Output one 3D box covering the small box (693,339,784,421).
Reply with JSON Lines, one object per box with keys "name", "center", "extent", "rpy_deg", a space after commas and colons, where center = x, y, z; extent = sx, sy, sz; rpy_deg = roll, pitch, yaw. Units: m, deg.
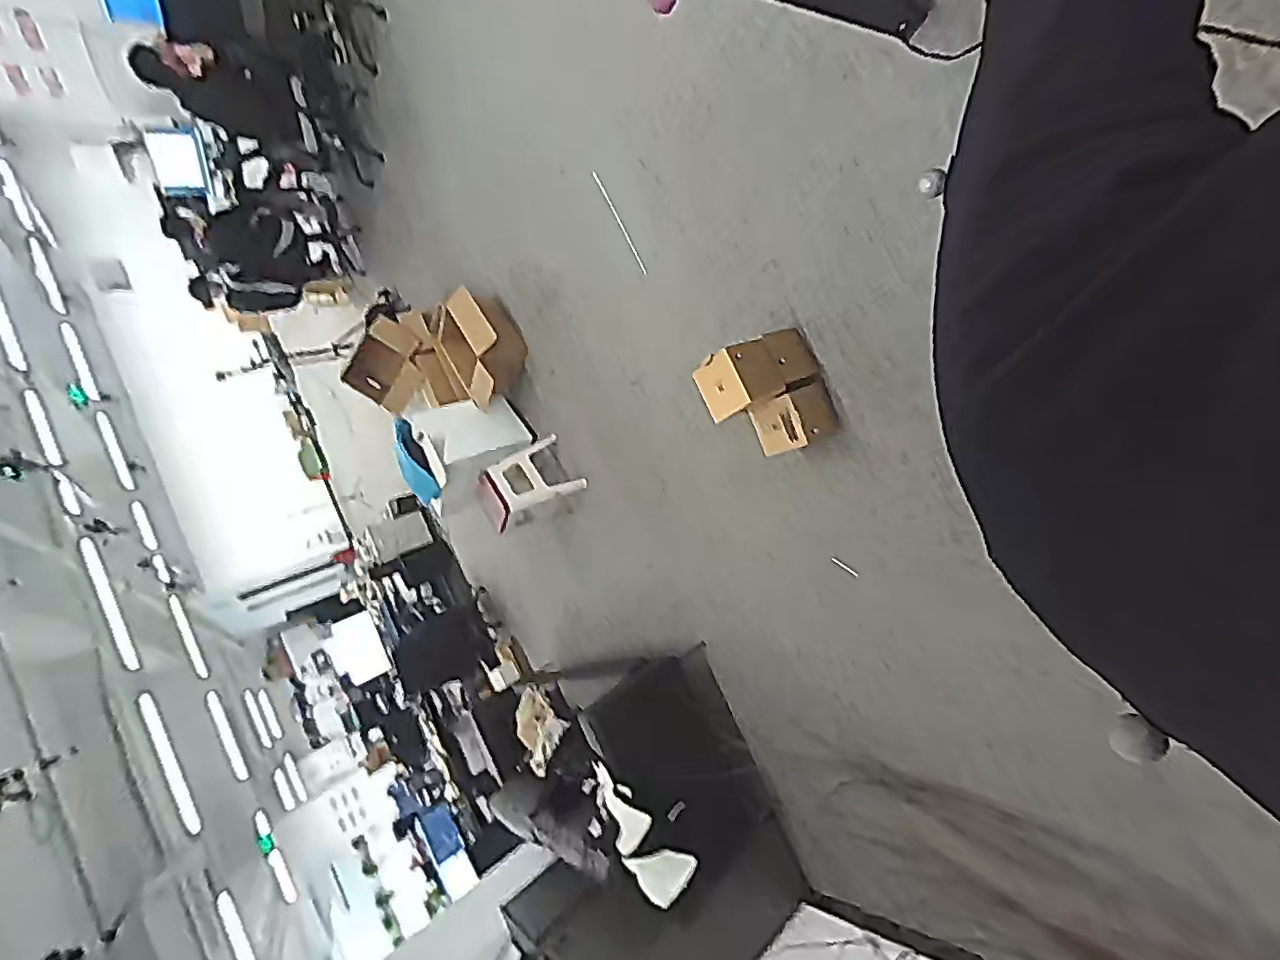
{"name": "small box", "center": [0.298, -0.302, 1.622], "extent": [0.168, 0.176, 0.179], "rpy_deg": [-33, 81, 54]}
